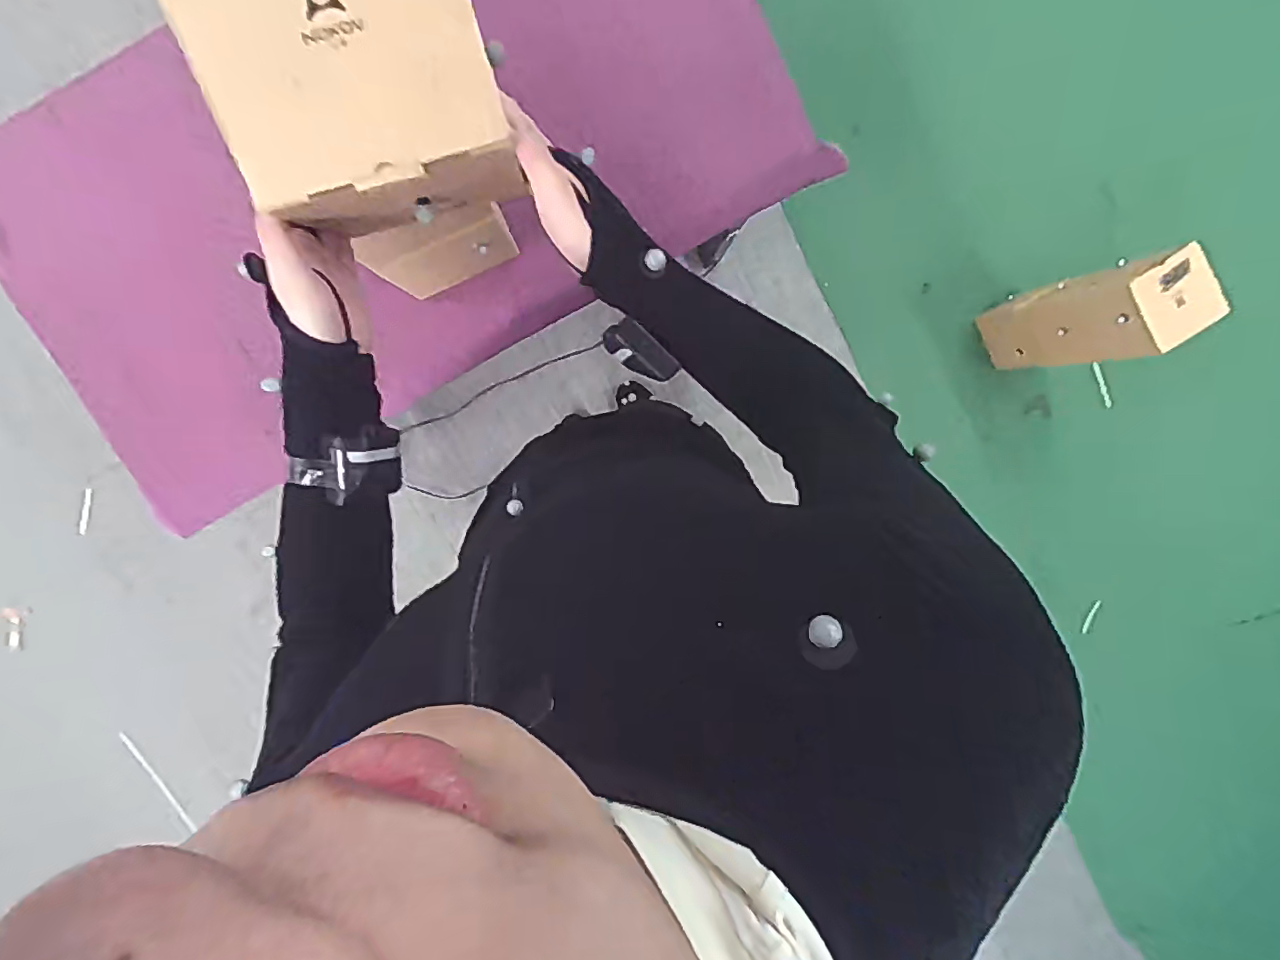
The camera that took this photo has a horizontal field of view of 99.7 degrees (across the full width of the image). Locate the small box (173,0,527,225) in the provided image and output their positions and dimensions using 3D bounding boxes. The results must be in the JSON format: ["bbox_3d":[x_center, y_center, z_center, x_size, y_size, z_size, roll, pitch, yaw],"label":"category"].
[{"bbox_3d":[-0.186,-0.294,0.387,0.168,0.176,0.179,-16,111,-3],"label":"small box"}]

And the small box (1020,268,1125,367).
[{"bbox_3d":[1.123,-0.400,1.371,0.168,0.176,0.179,-31,95,2],"label":"small box"}]

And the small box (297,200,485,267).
[{"bbox_3d":[-0.290,-0.364,0.600,0.179,0.176,0.168,-24,96,1],"label":"small box"}]

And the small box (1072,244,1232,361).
[{"bbox_3d":[1.128,-0.385,1.207,0.168,0.176,0.179,-32,97,3],"label":"small box"}]

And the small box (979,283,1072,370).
[{"bbox_3d":[1.113,-0.424,1.531,0.168,0.176,0.179,-28,97,2],"label":"small box"}]
